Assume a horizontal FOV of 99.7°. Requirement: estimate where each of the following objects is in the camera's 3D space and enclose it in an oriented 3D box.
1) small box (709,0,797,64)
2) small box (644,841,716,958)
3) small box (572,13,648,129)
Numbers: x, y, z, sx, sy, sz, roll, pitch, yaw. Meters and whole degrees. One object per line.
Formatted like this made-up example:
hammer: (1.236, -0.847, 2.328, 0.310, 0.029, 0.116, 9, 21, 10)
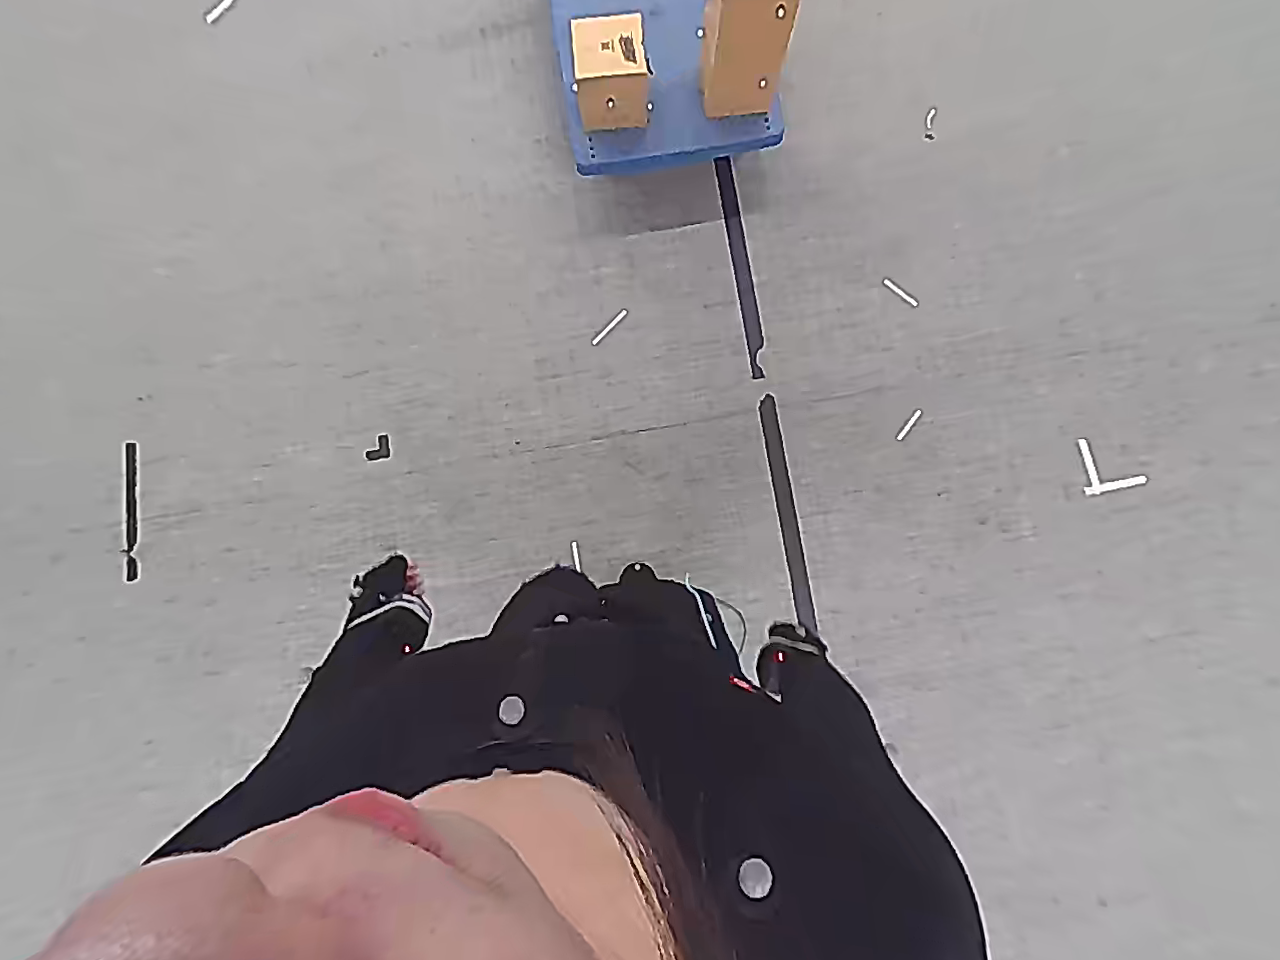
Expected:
small box: (0.251, -1.087, 1.224, 0.179, 0.176, 0.168, -4, 83, -1)
small box: (0.094, 1.020, 1.332, 0.168, 0.176, 0.179, -3, 84, 2)
small box: (-0.072, -1.040, 1.387, 0.179, 0.176, 0.168, -5, 83, 1)
